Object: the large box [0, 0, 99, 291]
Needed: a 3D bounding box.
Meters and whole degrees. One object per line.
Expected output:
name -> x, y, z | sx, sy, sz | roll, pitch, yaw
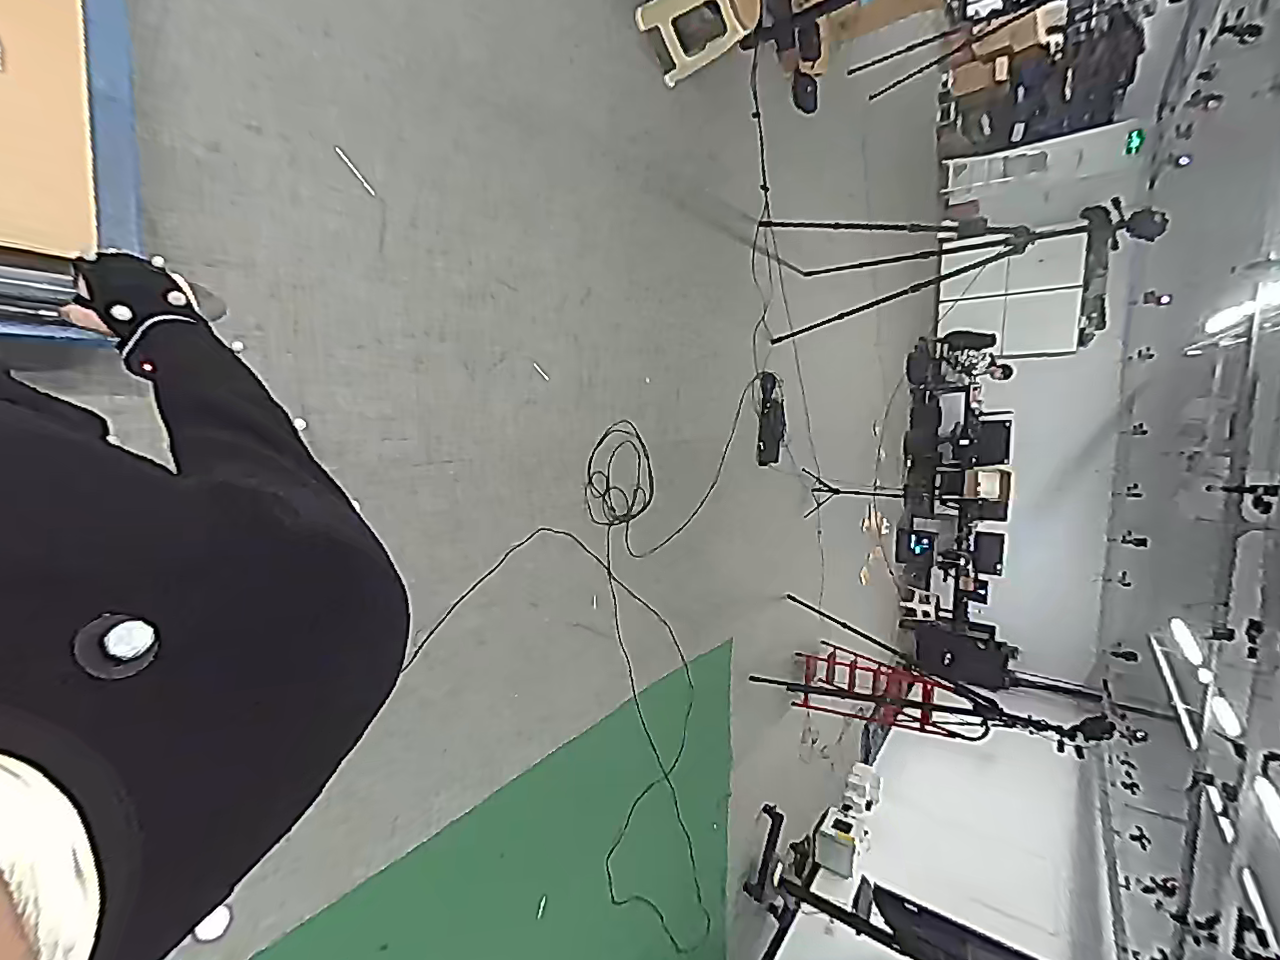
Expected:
large box -> -1.063, -0.532, 0.801 | 0.320, 0.320, 0.408 | -7, 98, -52
